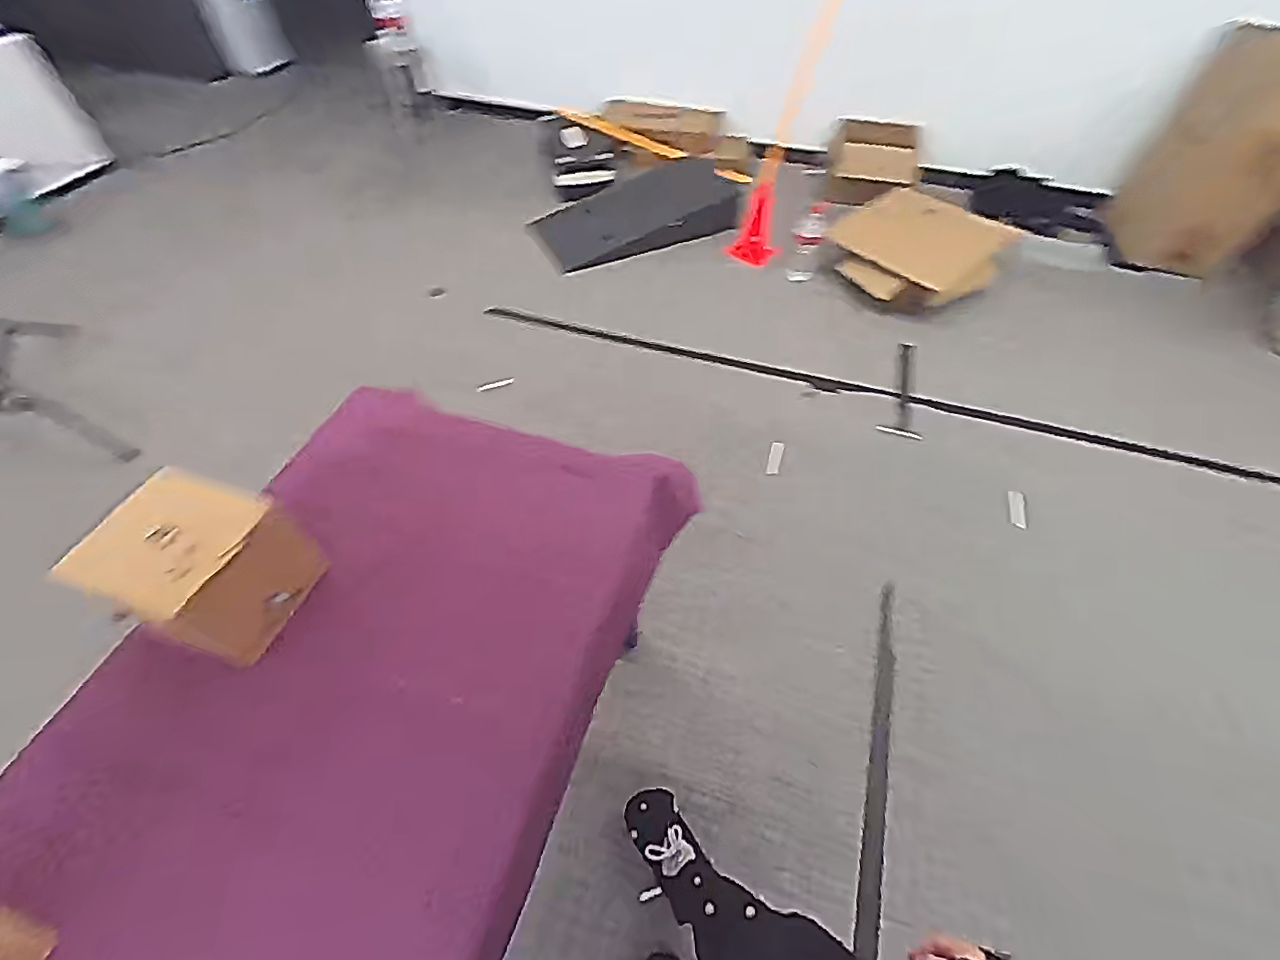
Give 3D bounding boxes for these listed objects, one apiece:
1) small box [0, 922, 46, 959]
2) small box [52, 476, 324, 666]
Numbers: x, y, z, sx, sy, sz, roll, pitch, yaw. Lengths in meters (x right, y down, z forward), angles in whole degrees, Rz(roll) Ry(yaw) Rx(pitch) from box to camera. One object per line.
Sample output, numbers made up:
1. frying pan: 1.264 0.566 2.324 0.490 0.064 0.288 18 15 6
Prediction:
1. small box: -0.691 0.467 0.451 0.179 0.176 0.168 15 54 8
2. small box: -0.571 0.124 0.713 0.179 0.176 0.168 15 55 9
